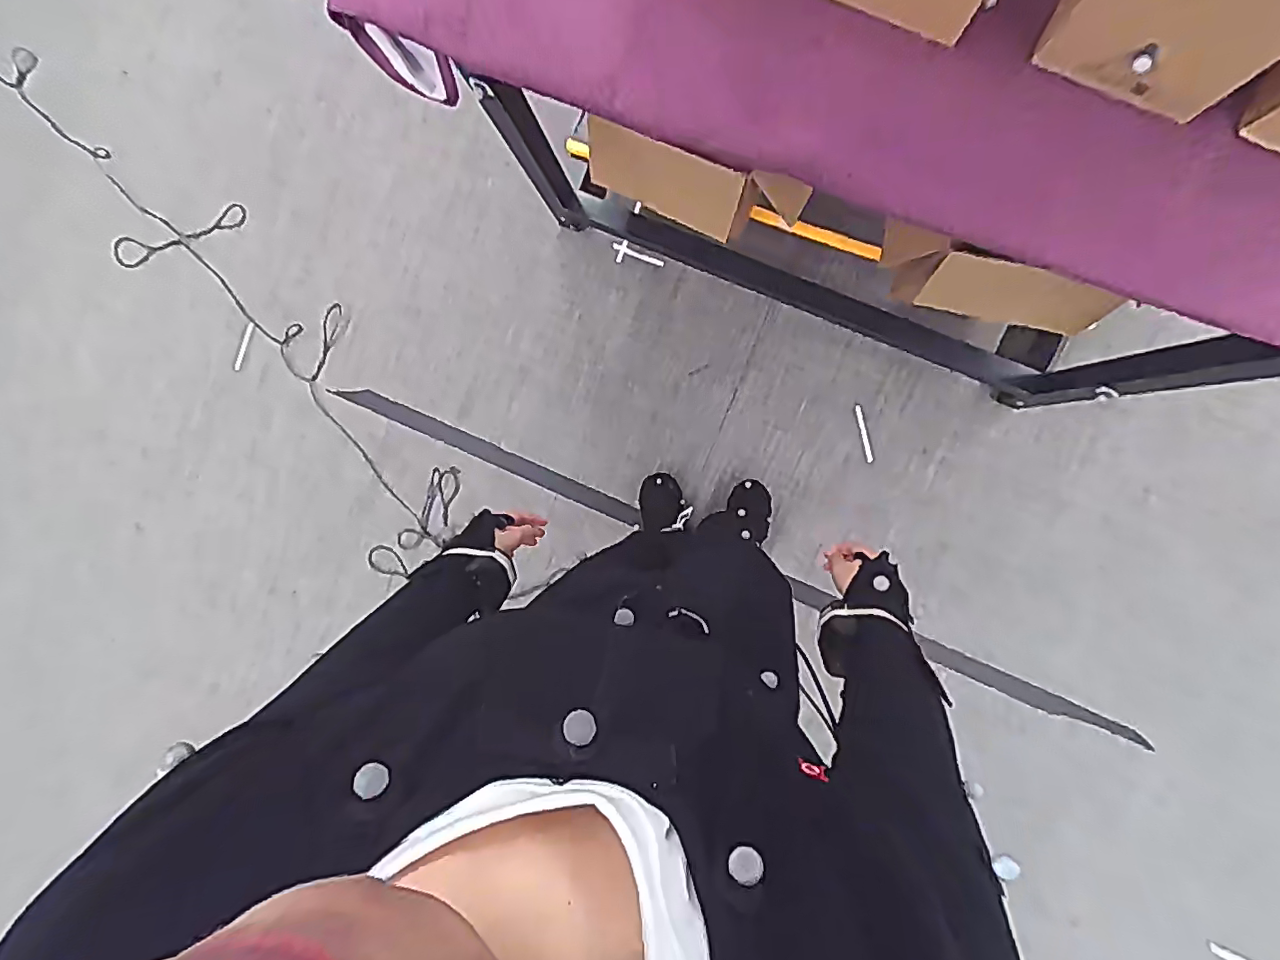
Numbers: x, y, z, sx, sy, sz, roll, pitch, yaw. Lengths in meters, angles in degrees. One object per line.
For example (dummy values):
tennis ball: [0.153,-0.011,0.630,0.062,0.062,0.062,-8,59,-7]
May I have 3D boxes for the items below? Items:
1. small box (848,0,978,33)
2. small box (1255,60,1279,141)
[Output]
small box: [0.273,-0.555,0.478,0.179,0.176,0.168,26,96,5]
small box: [0.692,-0.385,0.439,0.168,0.176,0.179,27,95,5]
